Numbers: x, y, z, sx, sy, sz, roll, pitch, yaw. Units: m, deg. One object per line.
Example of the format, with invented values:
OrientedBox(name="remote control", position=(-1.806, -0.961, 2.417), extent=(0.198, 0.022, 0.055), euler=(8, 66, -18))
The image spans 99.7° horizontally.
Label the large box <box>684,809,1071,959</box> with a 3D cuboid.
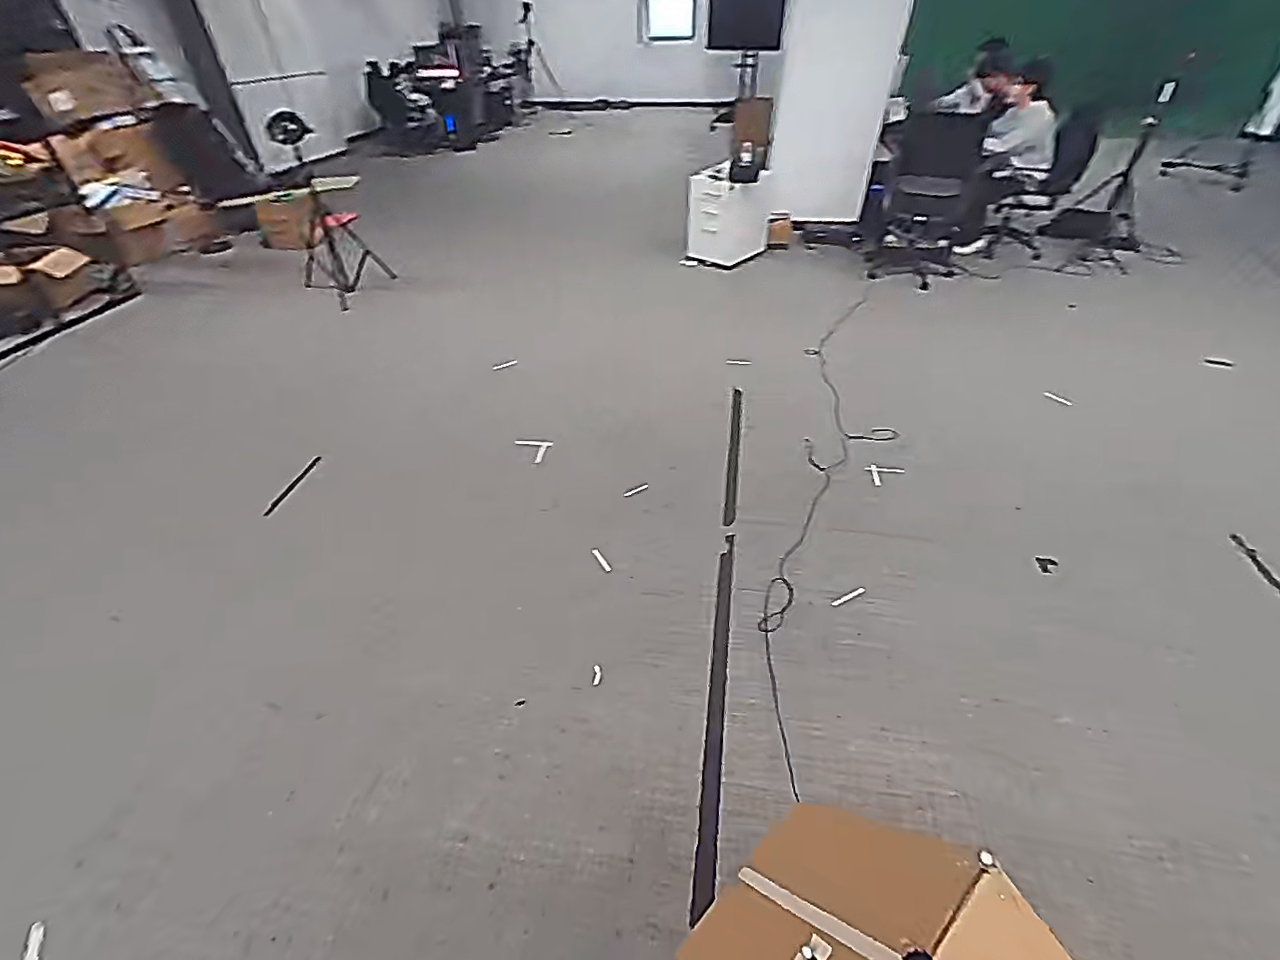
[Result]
OrientedBox(name="large box", position=(0.321, 0.696, 0.690), extent=(0.320, 0.408, 0.320), euler=(-32, 81, -25))
